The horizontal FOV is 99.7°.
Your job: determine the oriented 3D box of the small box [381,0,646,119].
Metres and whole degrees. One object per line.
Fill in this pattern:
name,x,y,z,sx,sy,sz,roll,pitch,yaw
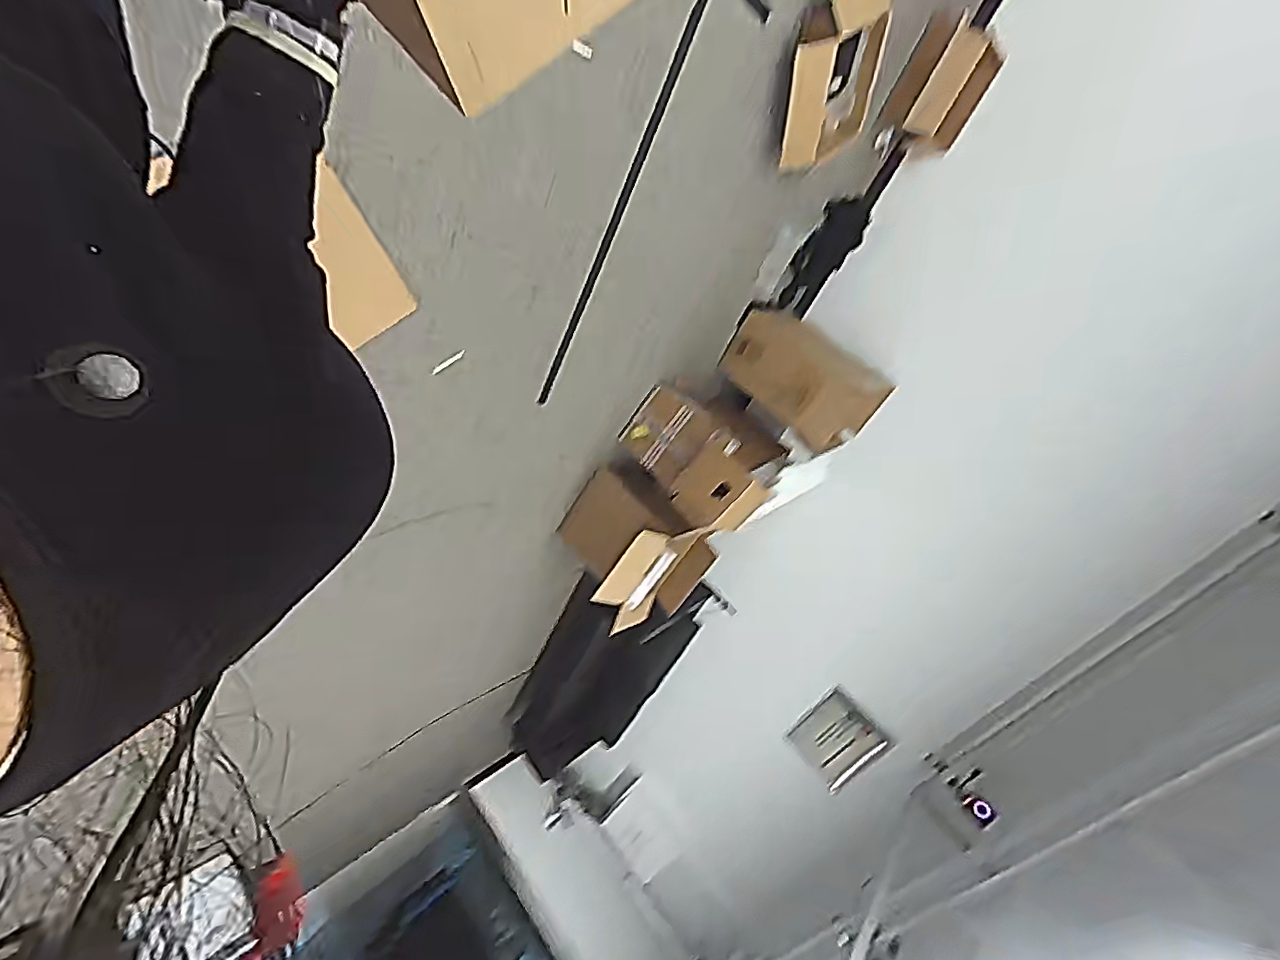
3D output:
small box,-0.087,-0.337,0.253,0.168,0.176,0.179,-39,174,-4
